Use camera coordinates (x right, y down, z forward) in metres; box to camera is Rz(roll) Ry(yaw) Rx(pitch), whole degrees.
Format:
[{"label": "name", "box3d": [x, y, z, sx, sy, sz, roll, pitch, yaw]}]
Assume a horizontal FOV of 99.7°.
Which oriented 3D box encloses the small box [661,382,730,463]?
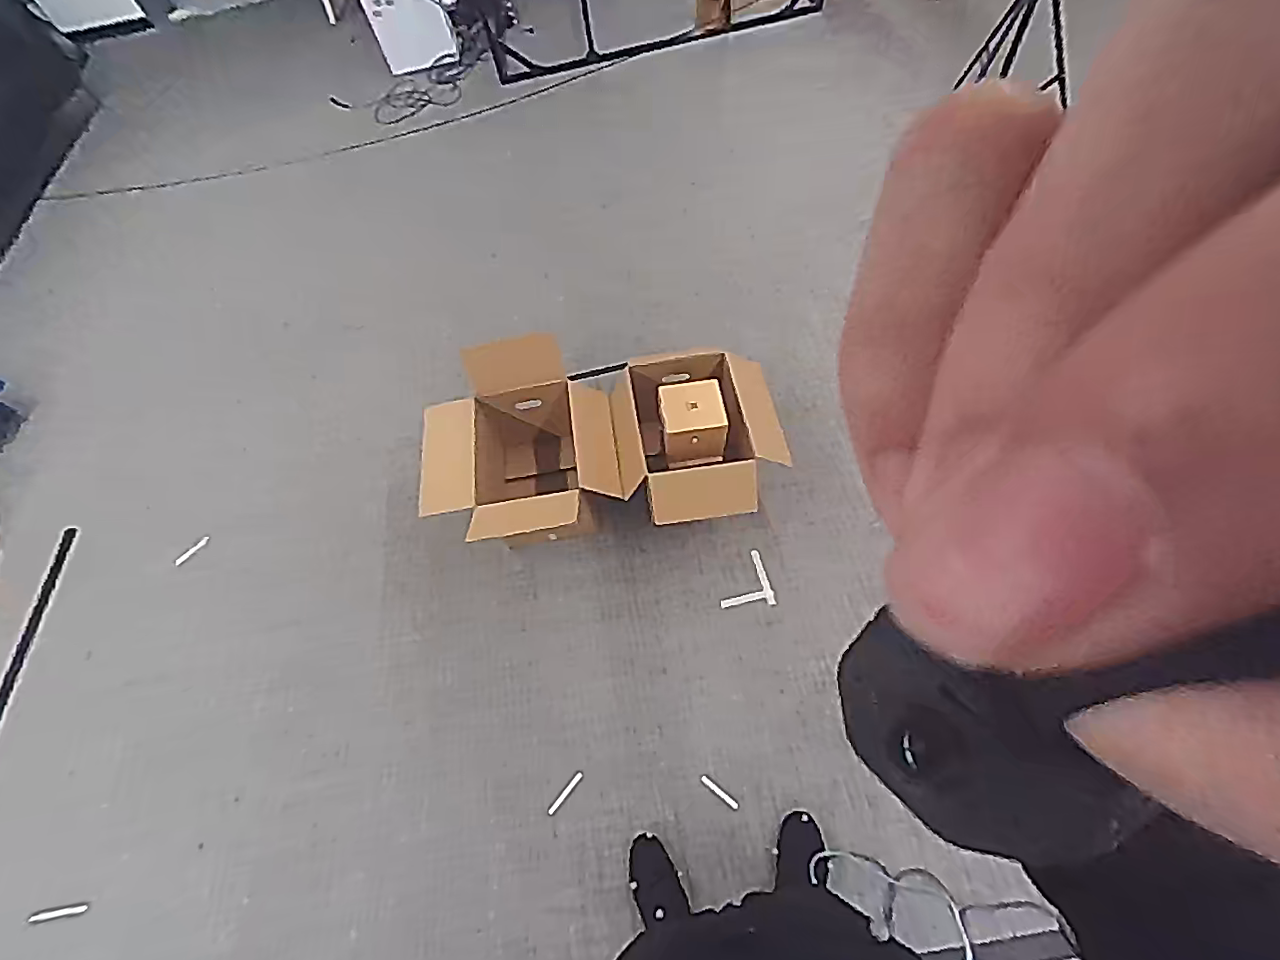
[{"label": "small box", "box3d": [0.159, -0.166, 1.596, 0.179, 0.176, 0.168, -8, 62, 0]}]
